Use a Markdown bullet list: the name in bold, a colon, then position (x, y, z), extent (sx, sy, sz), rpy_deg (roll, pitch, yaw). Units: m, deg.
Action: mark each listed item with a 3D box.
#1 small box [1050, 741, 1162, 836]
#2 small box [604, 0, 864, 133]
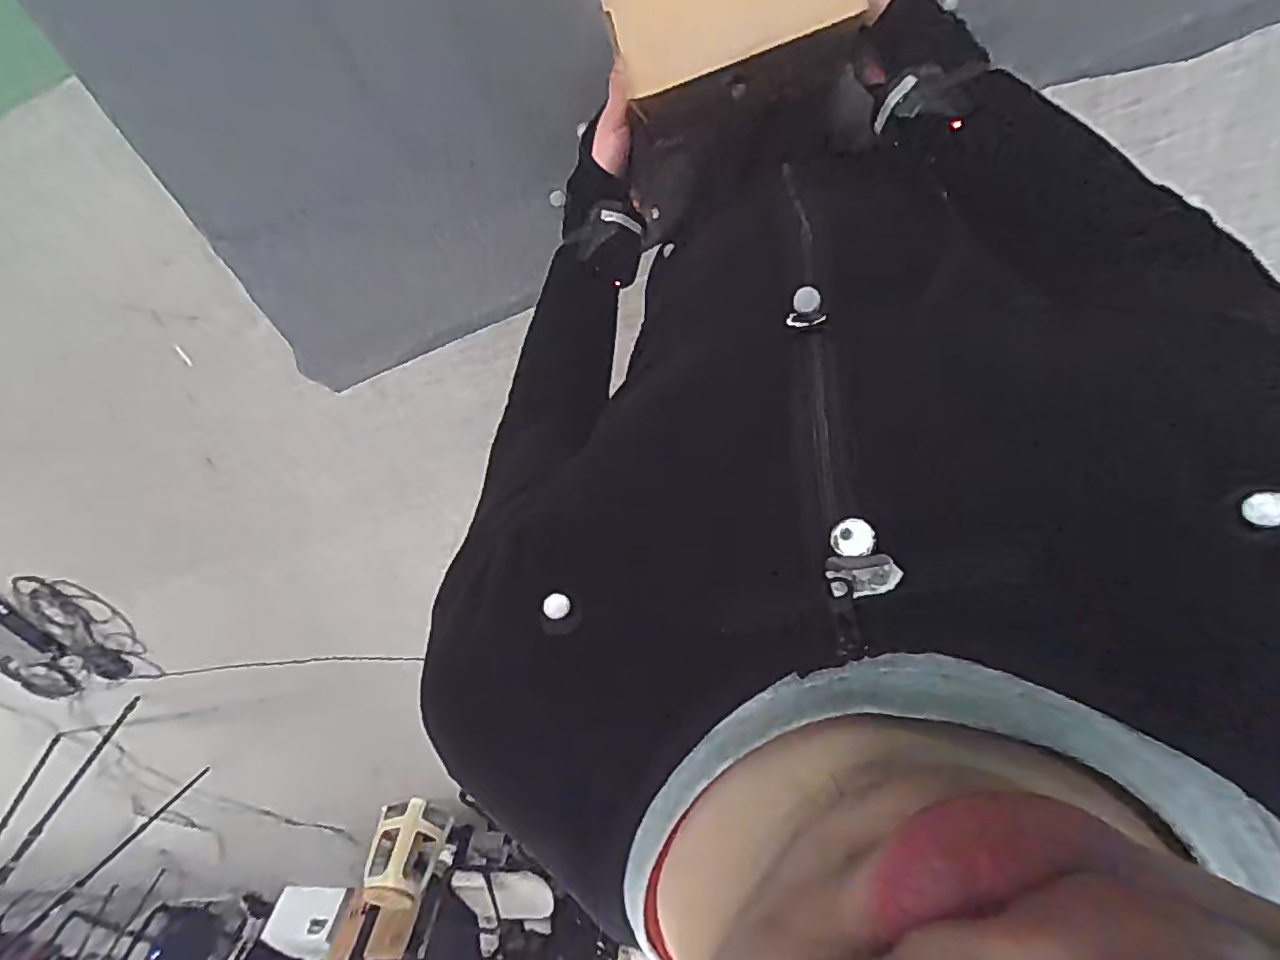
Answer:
- **small box**: position (1.256, 0.839, 1.474), extent (0.179, 0.176, 0.168), rpy_deg (-17, 124, 16)
- **small box**: position (0.066, -0.409, 0.436), extent (0.179, 0.176, 0.168), rpy_deg (-12, 111, 15)
